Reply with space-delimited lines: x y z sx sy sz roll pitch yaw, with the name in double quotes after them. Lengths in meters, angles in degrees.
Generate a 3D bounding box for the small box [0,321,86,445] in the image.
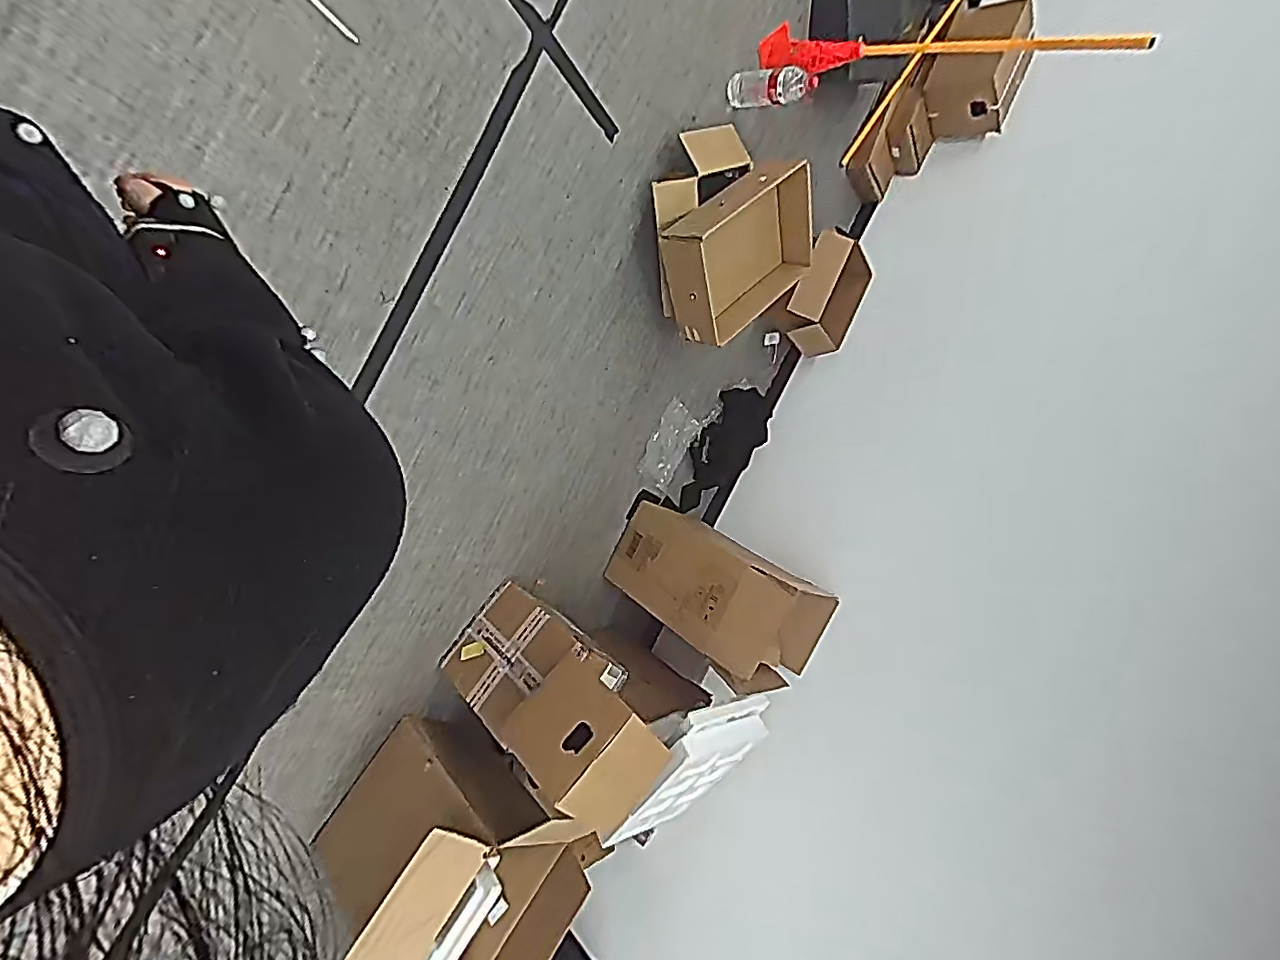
-1.112 -0.171 0.935 0.168 0.176 0.179 -23 128 -38 "small box"
